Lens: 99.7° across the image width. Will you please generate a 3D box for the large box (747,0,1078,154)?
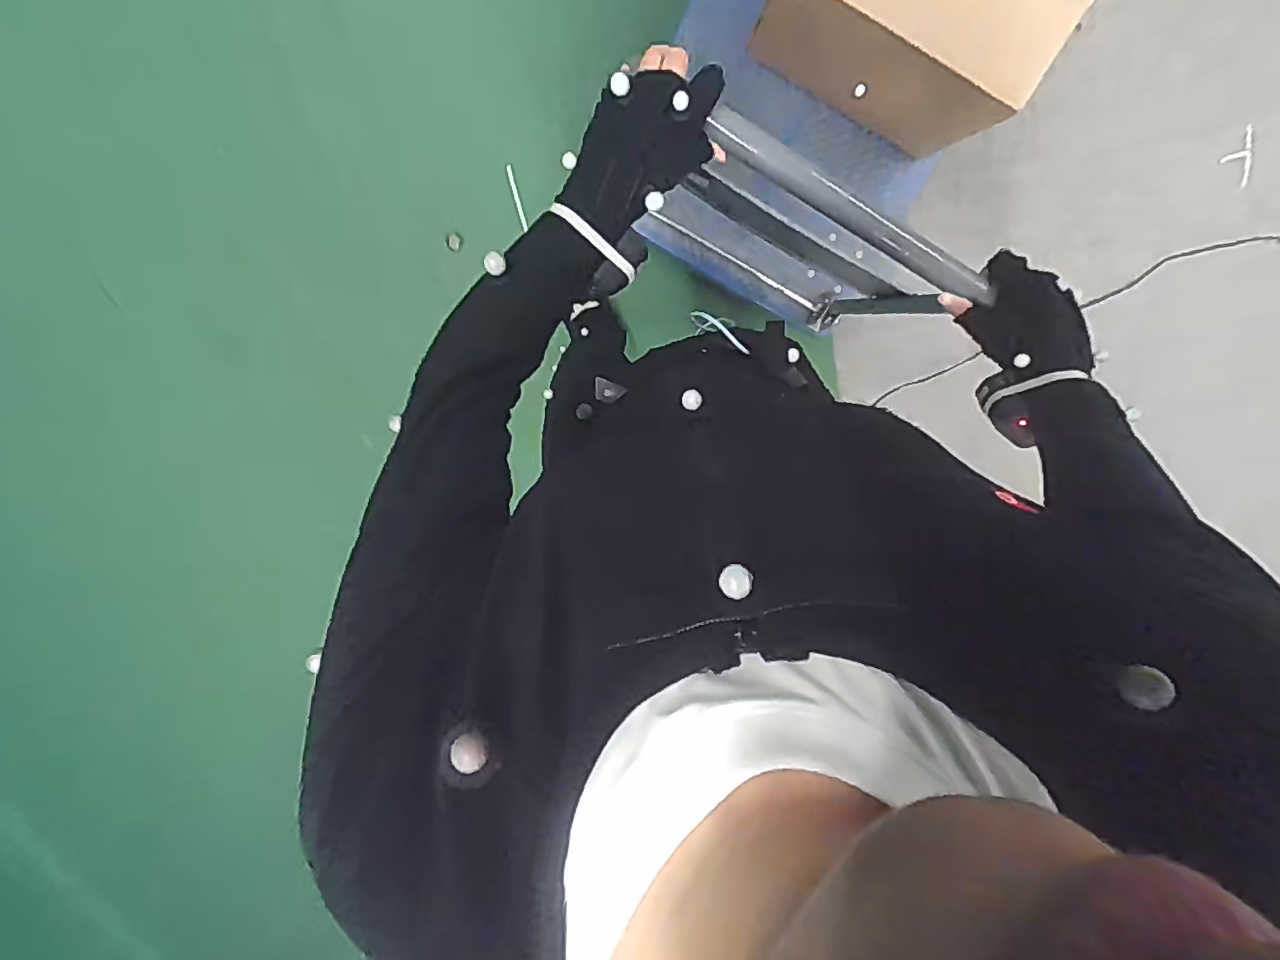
[{"bbox_3d":[0.439,-0.802,0.868,0.408,0.320,0.320,25,107,-7],"label":"large box"}]
